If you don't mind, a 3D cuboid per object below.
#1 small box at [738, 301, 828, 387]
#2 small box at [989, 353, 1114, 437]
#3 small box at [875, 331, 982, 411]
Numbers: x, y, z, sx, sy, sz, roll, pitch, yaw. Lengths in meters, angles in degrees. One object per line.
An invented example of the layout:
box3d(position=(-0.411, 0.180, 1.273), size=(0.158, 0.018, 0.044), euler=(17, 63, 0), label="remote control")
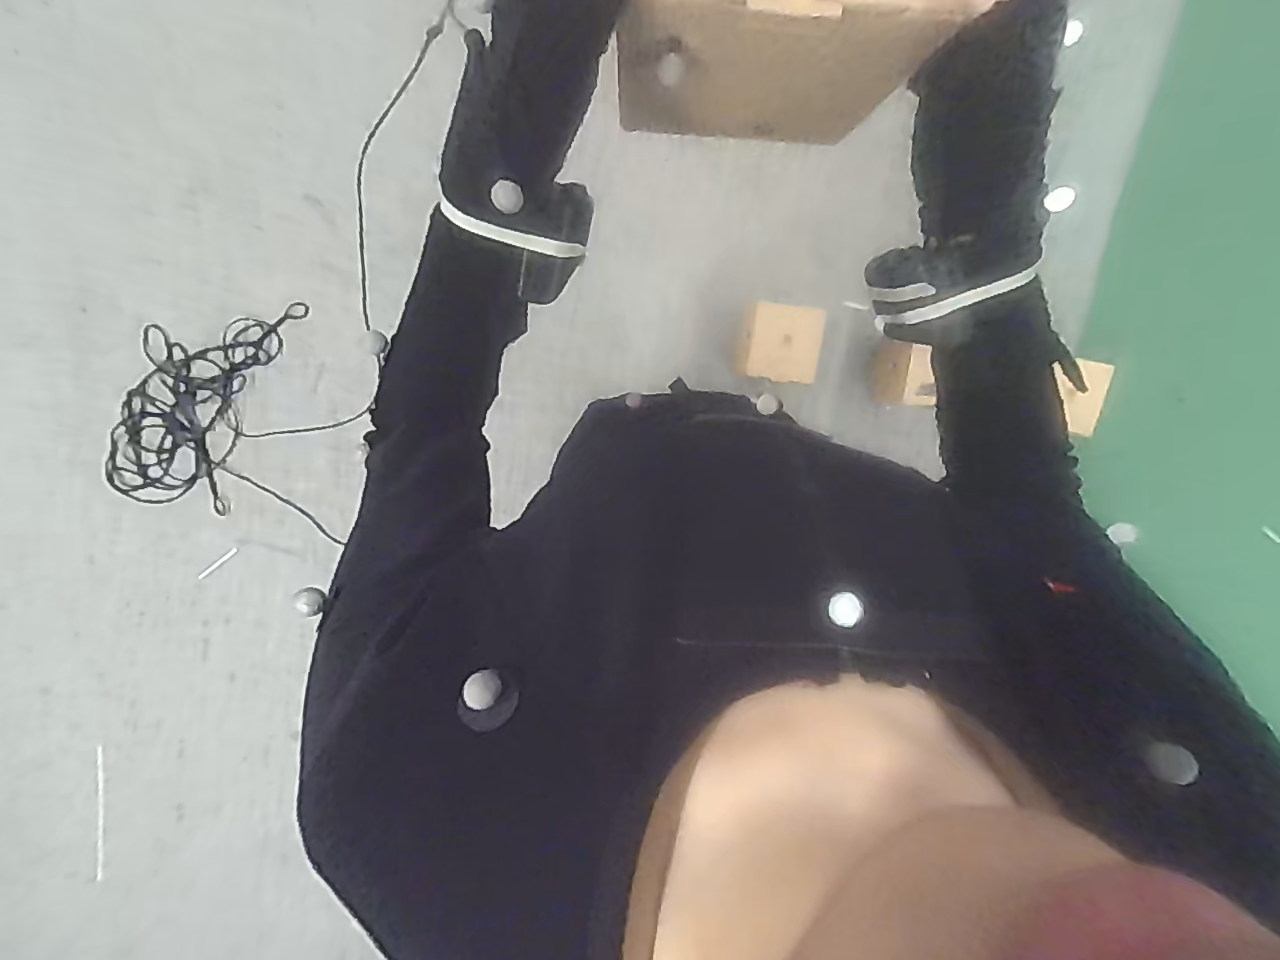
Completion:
box3d(position=(0.347, -0.333, 1.348), size=(0.168, 0.176, 0.179), euler=(8, 99, -1), label="small box")
box3d(position=(1.036, -0.216, 1.378), size=(0.168, 0.176, 0.179), euler=(11, 99, -2), label="small box")
box3d(position=(0.717, -0.271, 1.365), size=(0.168, 0.176, 0.179), euler=(6, 98, -2), label="small box")
